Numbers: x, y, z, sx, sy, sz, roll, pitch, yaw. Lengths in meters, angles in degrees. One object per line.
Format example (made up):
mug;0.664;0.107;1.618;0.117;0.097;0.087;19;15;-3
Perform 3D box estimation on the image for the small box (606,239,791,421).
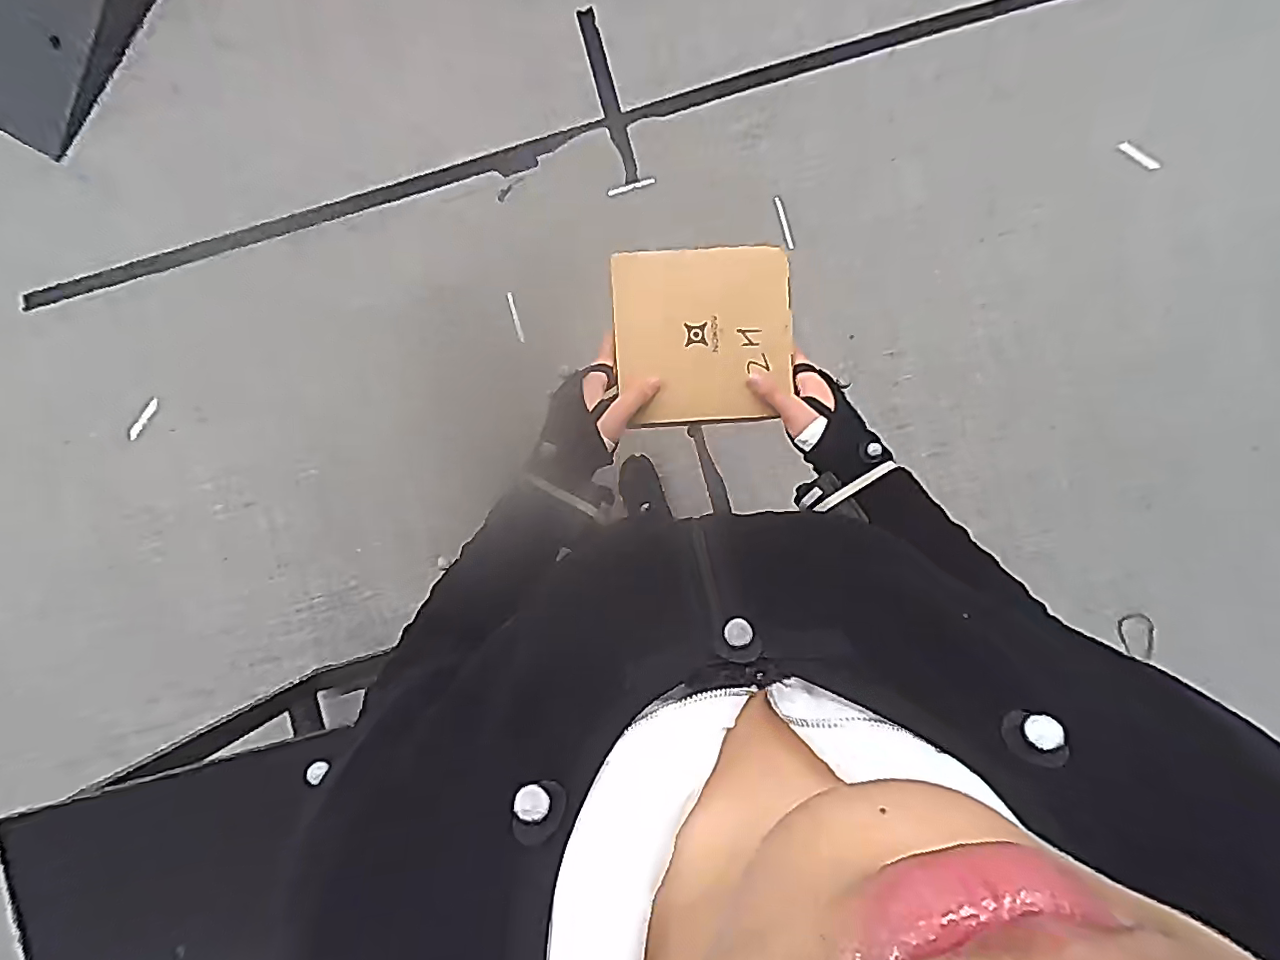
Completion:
small box;0.055;-0.154;0.604;0.179;0.176;0.168;-4;95;-3
